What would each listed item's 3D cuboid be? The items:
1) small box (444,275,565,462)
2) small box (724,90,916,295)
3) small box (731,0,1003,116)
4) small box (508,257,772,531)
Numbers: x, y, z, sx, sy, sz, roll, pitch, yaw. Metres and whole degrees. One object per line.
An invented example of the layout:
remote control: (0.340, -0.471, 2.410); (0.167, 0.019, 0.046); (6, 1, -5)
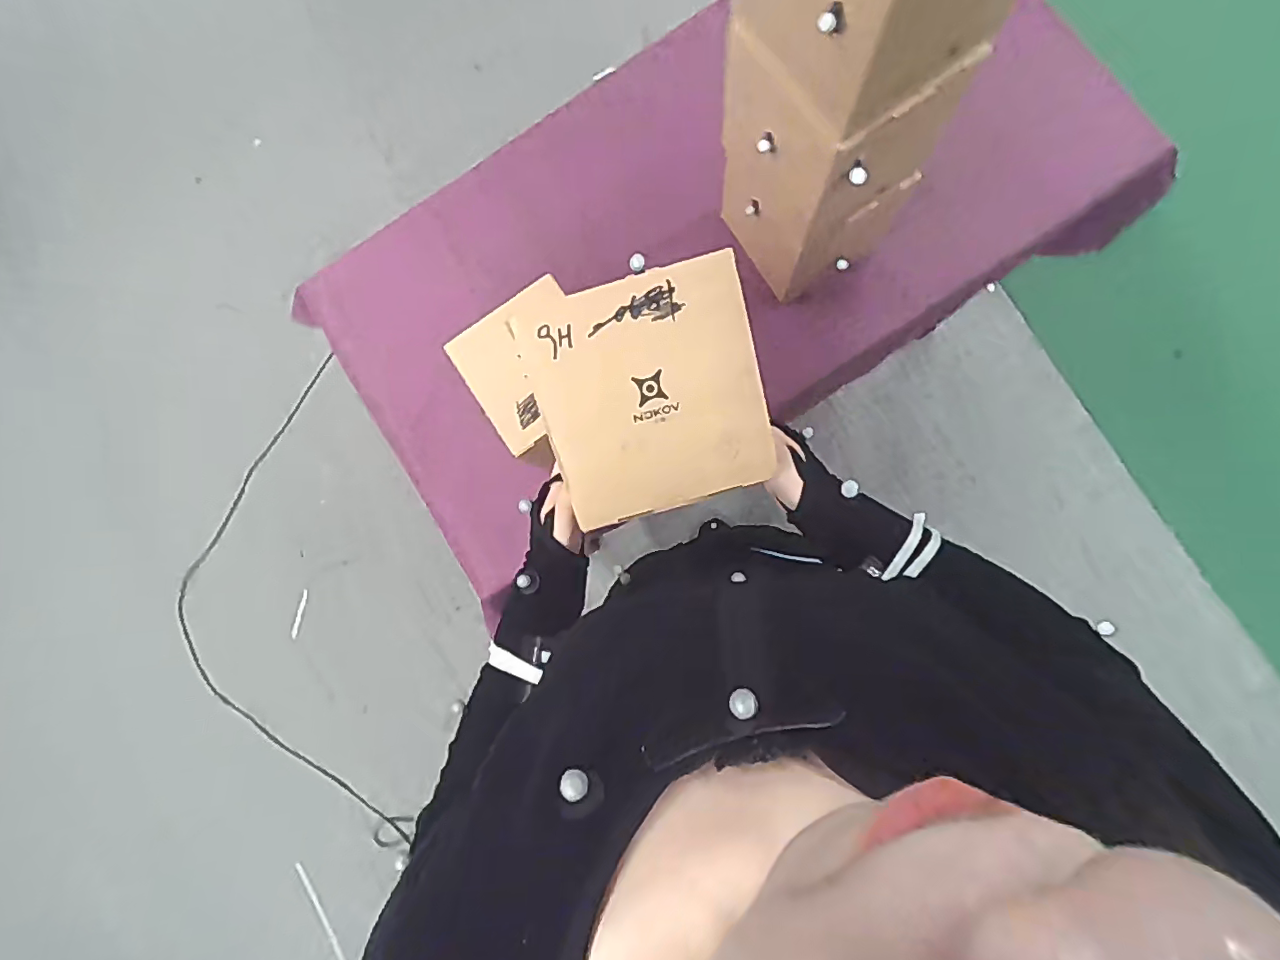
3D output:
small box: (-0.128, -0.137, 0.749); (0.168, 0.176, 0.179); (-34, 82, 2)
small box: (0.225, -0.389, 0.734); (0.168, 0.176, 0.179); (-31, 83, 3)
small box: (0.185, -0.424, 0.411); (0.168, 0.176, 0.179); (-34, 81, 2)
small box: (0.002, -0.083, 0.477); (0.168, 0.176, 0.179); (-16, 109, 1)
